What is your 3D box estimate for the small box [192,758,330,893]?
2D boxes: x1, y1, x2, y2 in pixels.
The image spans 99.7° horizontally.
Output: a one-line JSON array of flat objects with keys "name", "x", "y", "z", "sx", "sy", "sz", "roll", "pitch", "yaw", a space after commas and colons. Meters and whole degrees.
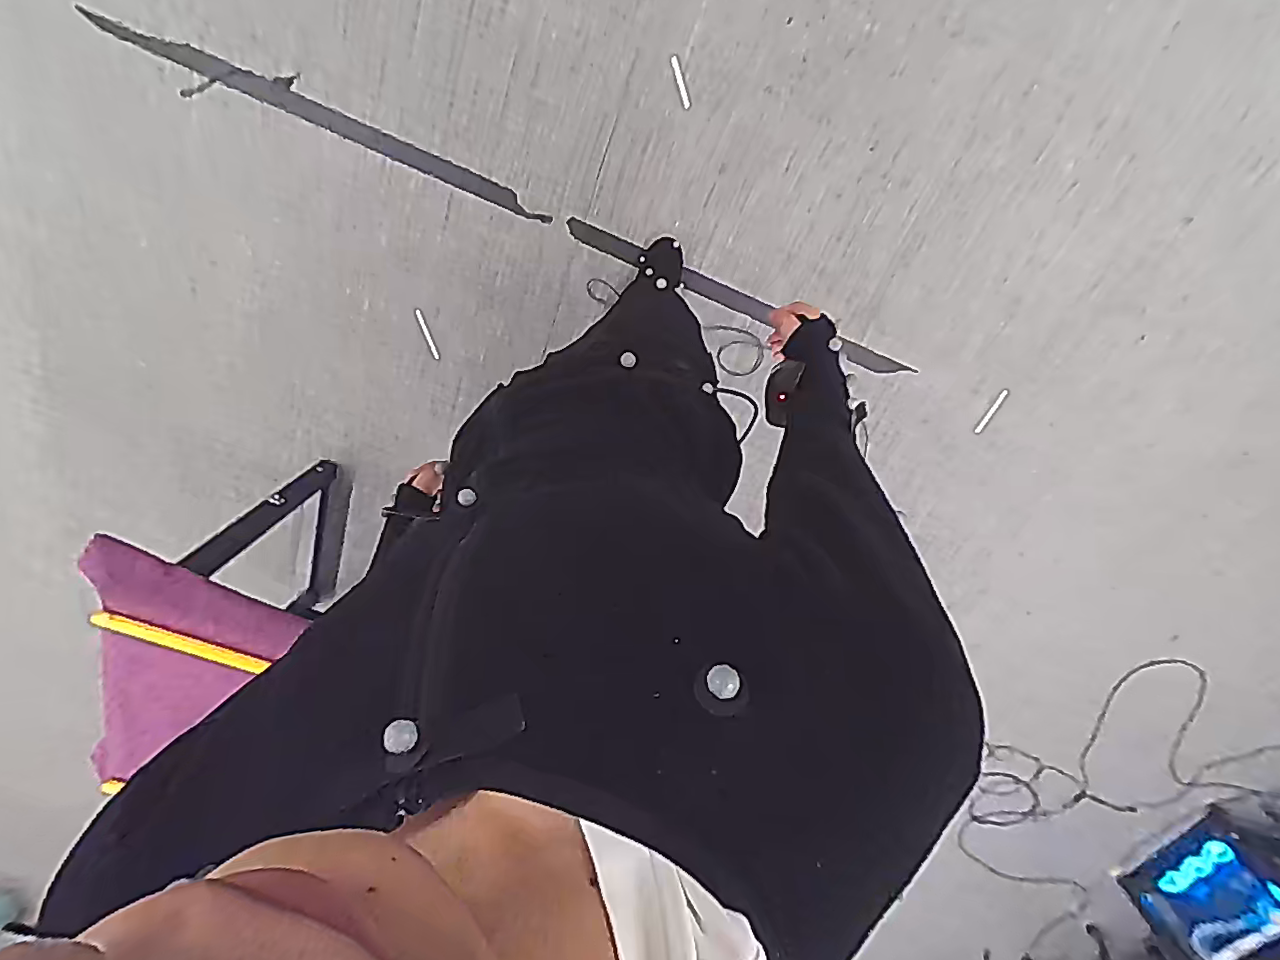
[{"name": "small box", "x": -0.818, "y": 0.743, "z": 1.177, "sx": 0.179, "sy": 0.176, "sz": 0.168, "roll": 21, "pitch": 113, "yaw": -8}]
